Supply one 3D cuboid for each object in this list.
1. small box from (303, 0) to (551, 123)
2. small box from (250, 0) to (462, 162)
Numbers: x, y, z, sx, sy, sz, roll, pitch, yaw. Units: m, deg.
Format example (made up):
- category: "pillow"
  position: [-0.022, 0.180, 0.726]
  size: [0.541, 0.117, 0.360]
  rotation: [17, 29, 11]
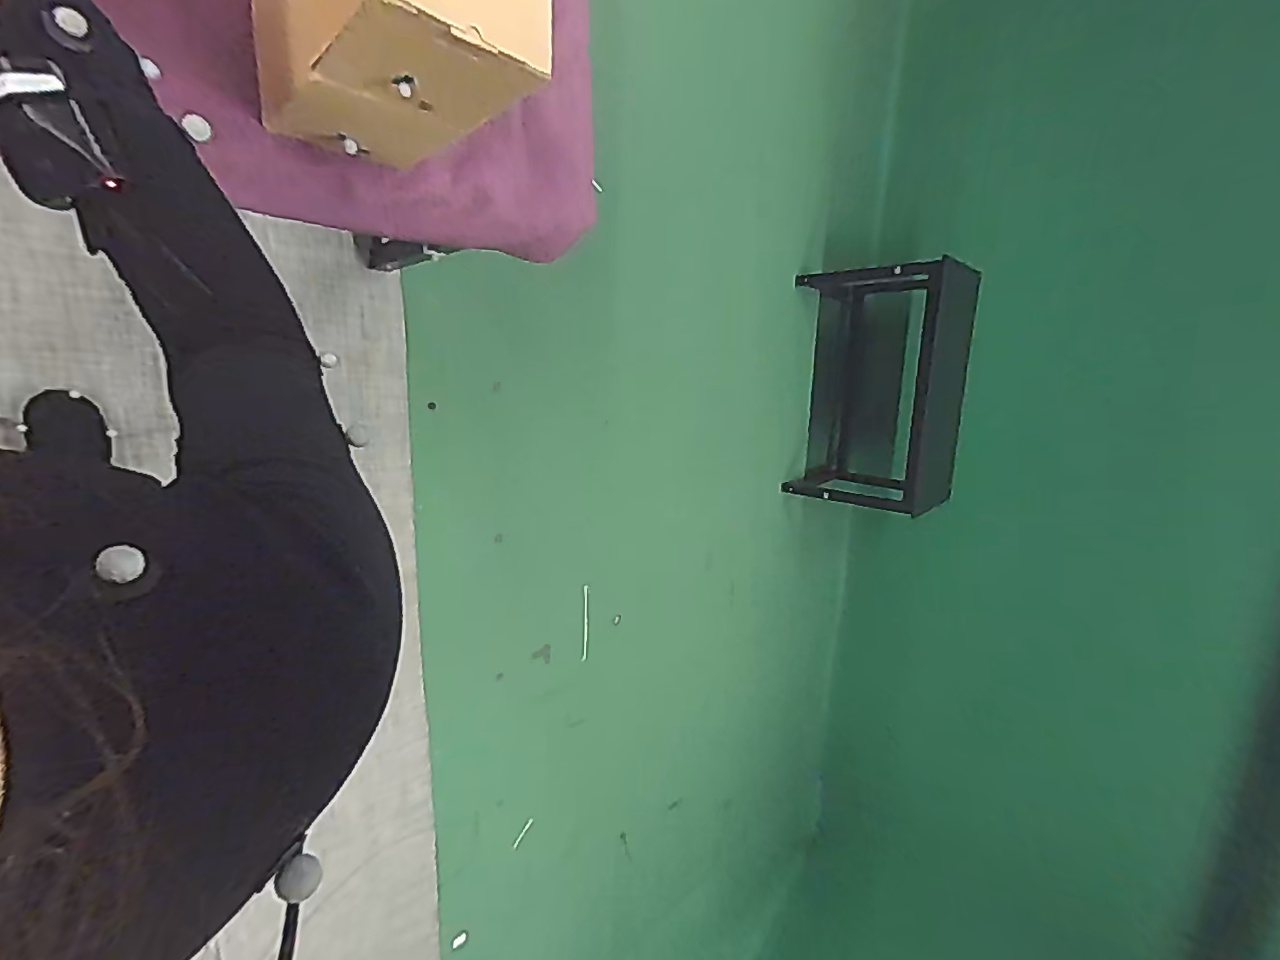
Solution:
- category: "small box"
  position: [-0.199, -0.473, 0.499]
  size: [0.168, 0.176, 0.179]
  rotation: [-11, 107, -46]
- category: "small box"
  position: [-0.319, -0.492, 0.608]
  size: [0.168, 0.176, 0.179]
  rotation: [-10, 106, -46]
